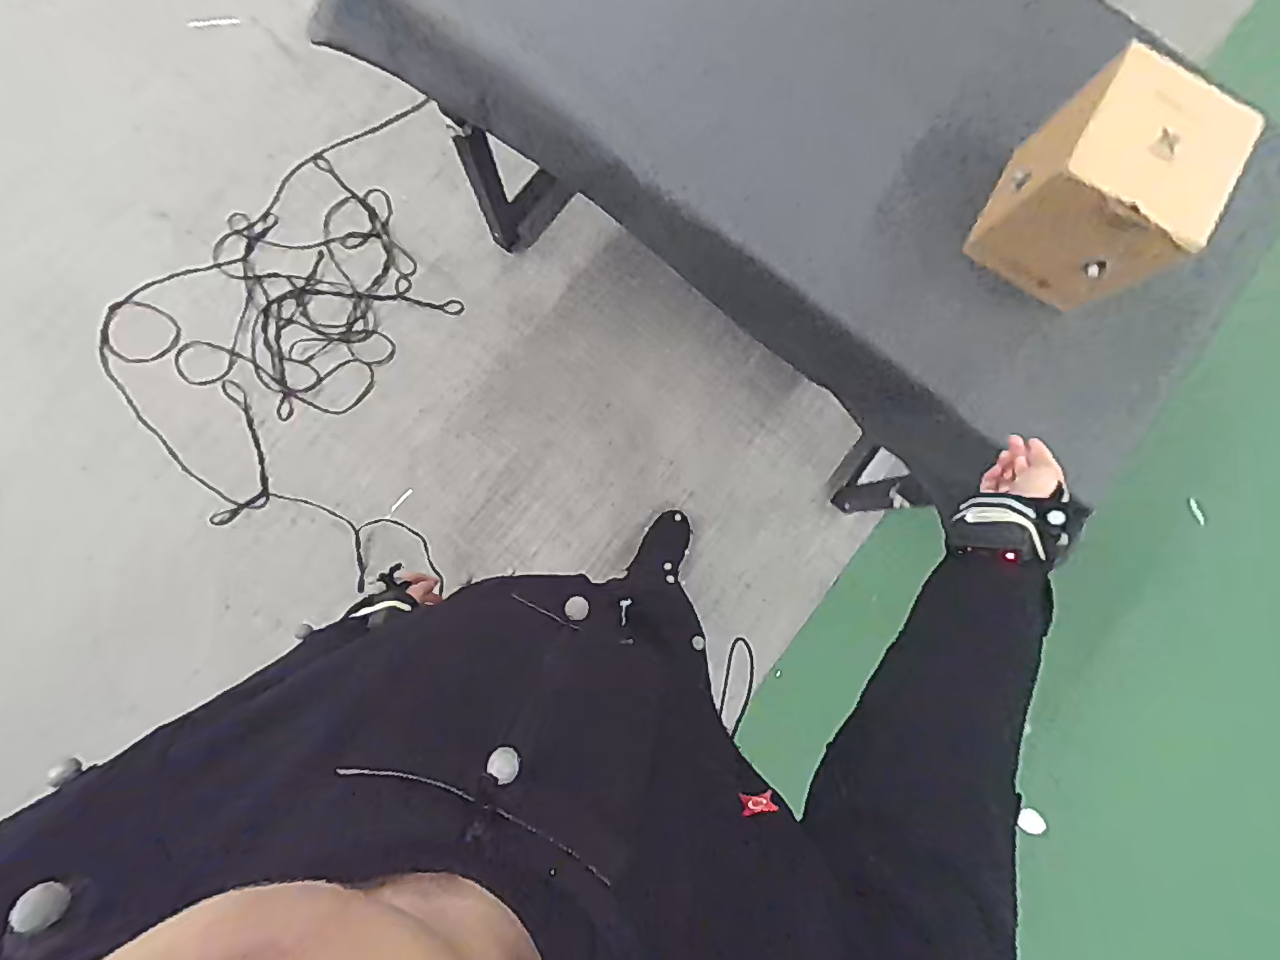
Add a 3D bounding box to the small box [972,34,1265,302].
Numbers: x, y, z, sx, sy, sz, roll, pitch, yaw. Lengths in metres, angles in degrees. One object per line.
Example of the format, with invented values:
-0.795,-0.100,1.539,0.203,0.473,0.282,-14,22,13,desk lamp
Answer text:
0.536,-0.344,0.634,0.168,0.176,0.179,30,83,-1,small box
